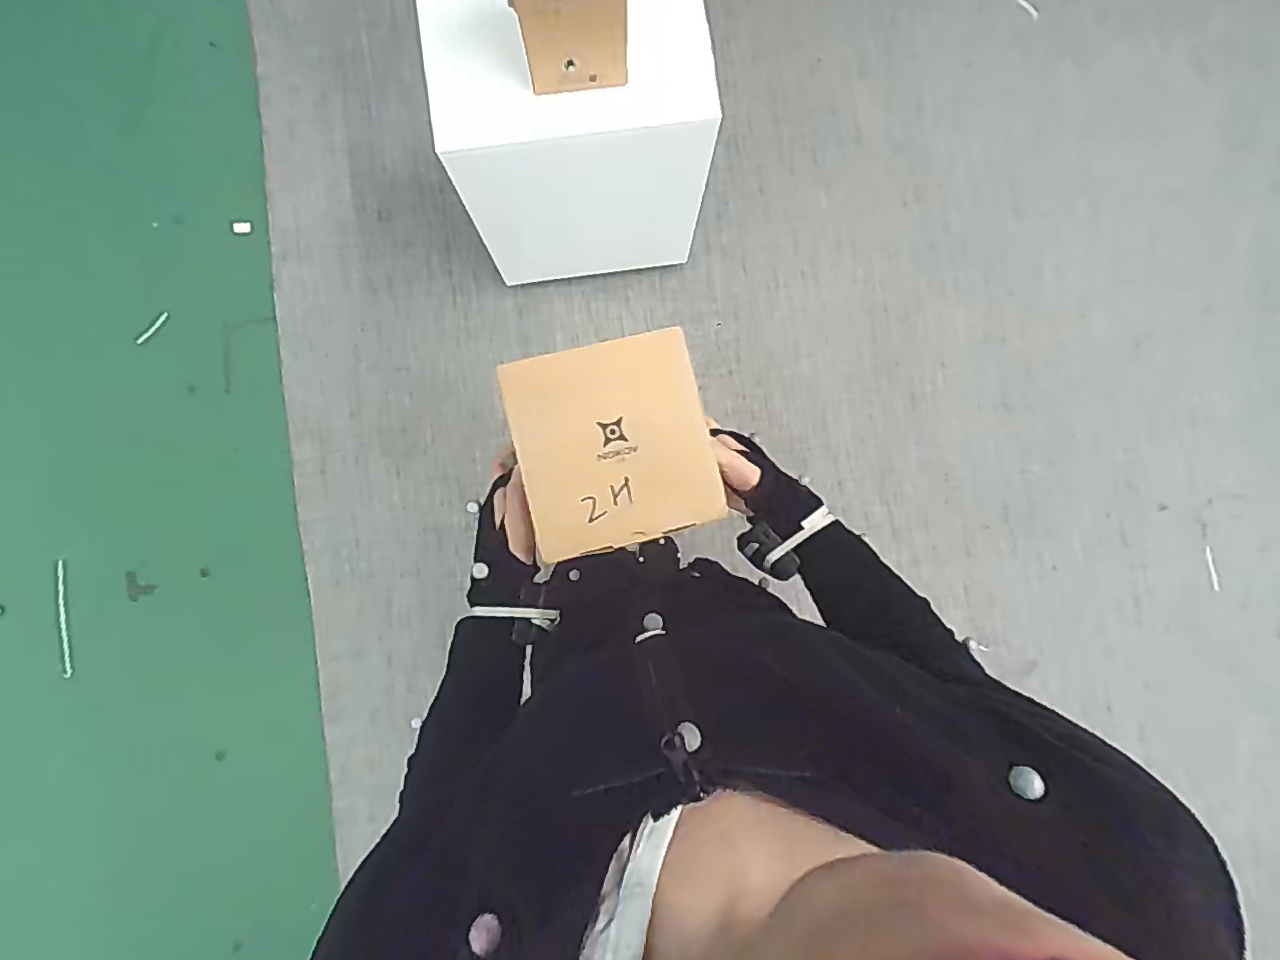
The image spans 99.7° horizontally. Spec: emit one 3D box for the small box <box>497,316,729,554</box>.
[{"bbox_3d":[-0.029,-0.034,0.532,0.168,0.176,0.179,-14,87,-5],"label":"small box"}]

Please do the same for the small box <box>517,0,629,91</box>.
[{"bbox_3d":[-0.111,-0.775,0.867,0.168,0.176,0.179,-8,87,-2],"label":"small box"}]
